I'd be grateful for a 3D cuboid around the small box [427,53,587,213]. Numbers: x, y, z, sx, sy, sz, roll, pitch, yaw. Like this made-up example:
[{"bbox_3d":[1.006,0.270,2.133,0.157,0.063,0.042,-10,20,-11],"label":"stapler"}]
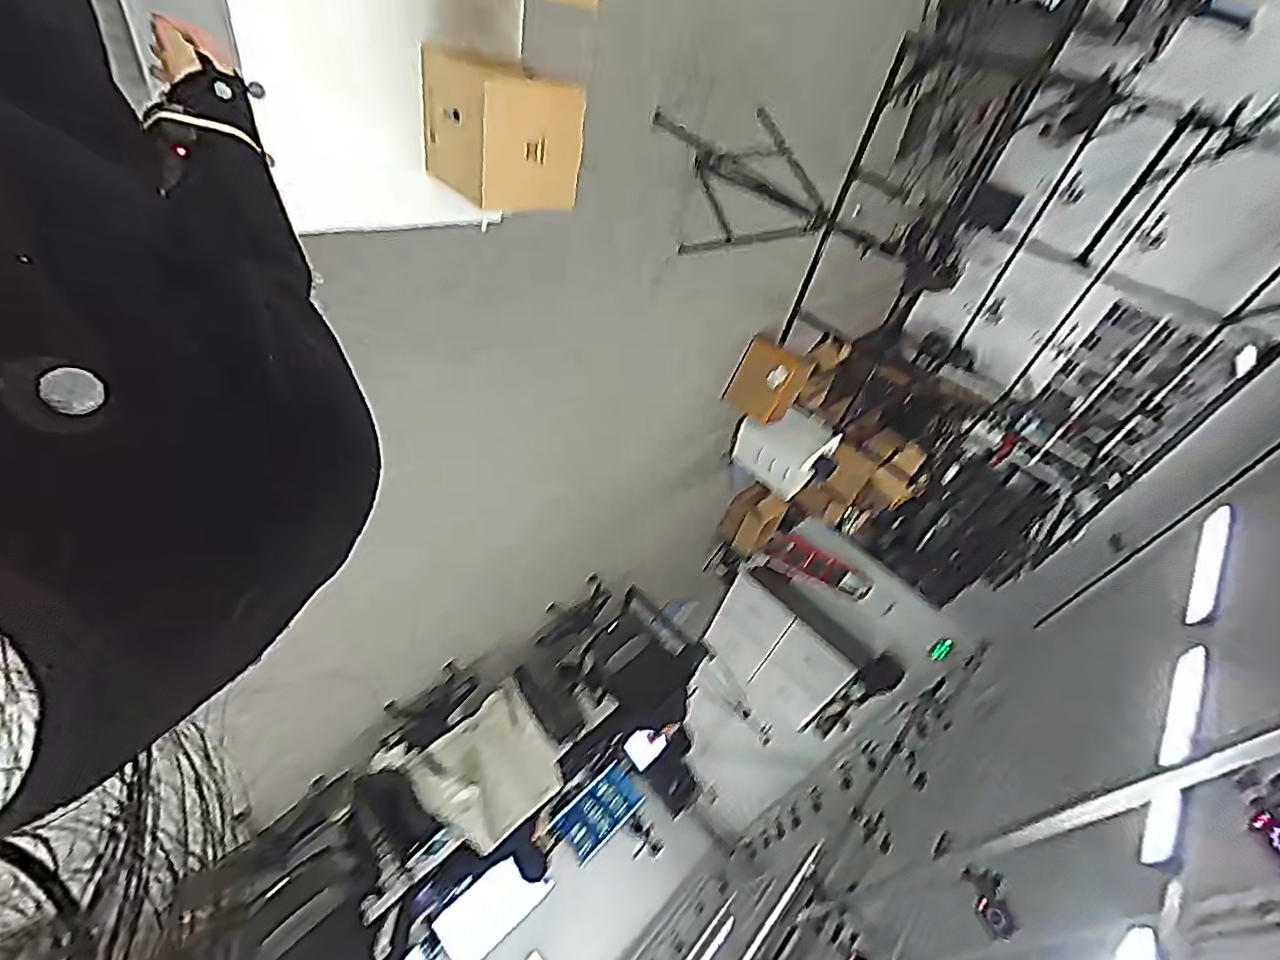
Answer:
[{"bbox_3d":[-0.209,-0.524,0.824,0.179,0.176,0.168,-27,146,-38],"label":"small box"}]
